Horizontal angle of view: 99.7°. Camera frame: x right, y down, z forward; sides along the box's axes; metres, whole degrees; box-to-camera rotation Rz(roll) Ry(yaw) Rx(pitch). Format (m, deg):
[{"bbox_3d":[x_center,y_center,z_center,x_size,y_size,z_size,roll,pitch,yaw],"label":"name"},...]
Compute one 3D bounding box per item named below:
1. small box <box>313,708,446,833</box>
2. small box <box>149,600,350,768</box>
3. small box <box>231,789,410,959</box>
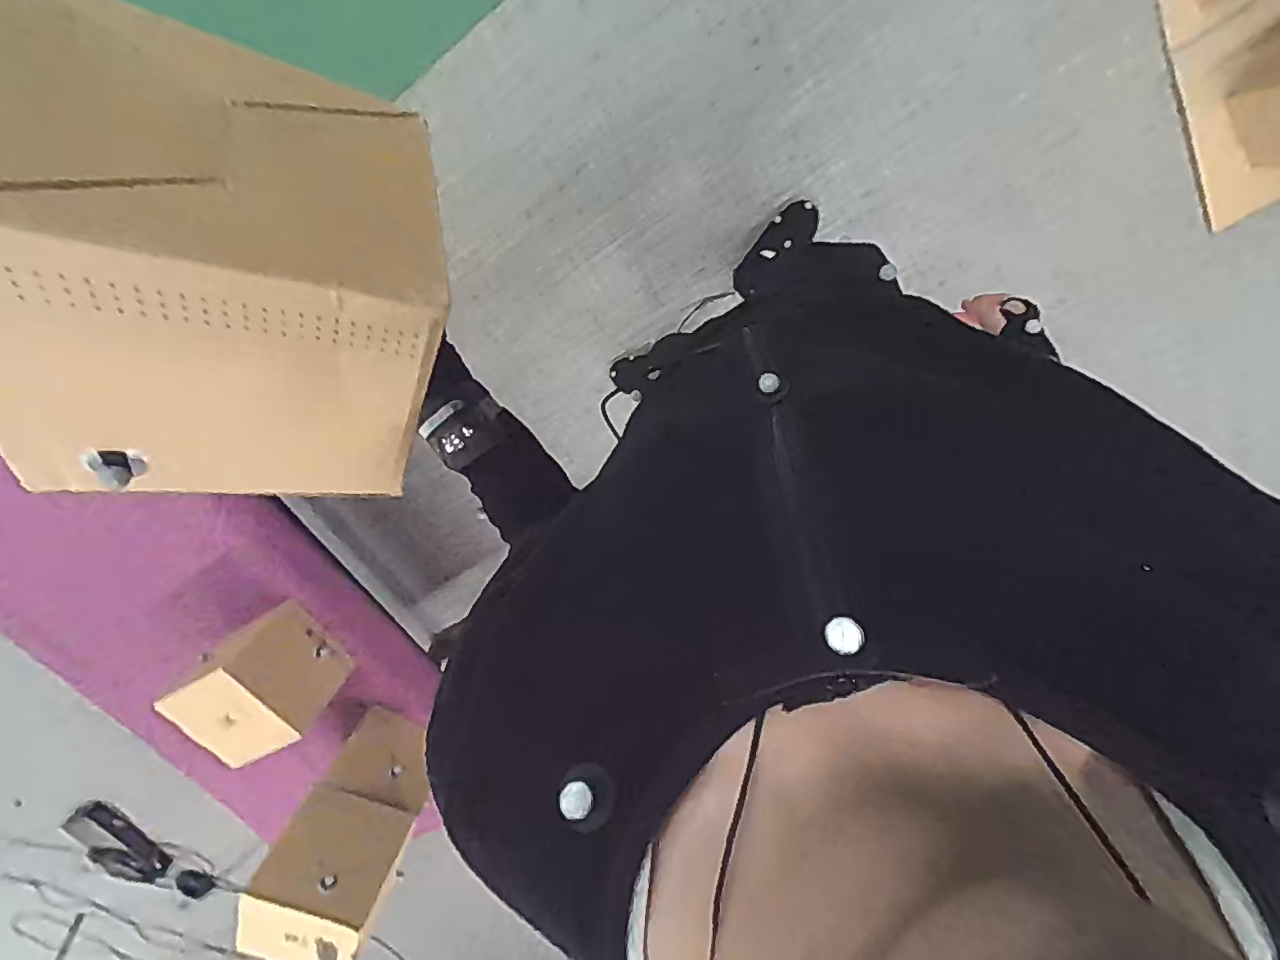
[{"bbox_3d":[-0.487,0.556,0.992,0.179,0.176,0.168,32,113,-10],"label":"small box"},{"bbox_3d":[-0.634,0.334,0.902,0.179,0.176,0.168,-27,111,16],"label":"small box"},{"bbox_3d":[-0.485,0.620,0.839,0.179,0.176,0.168,21,115,-4],"label":"small box"}]
